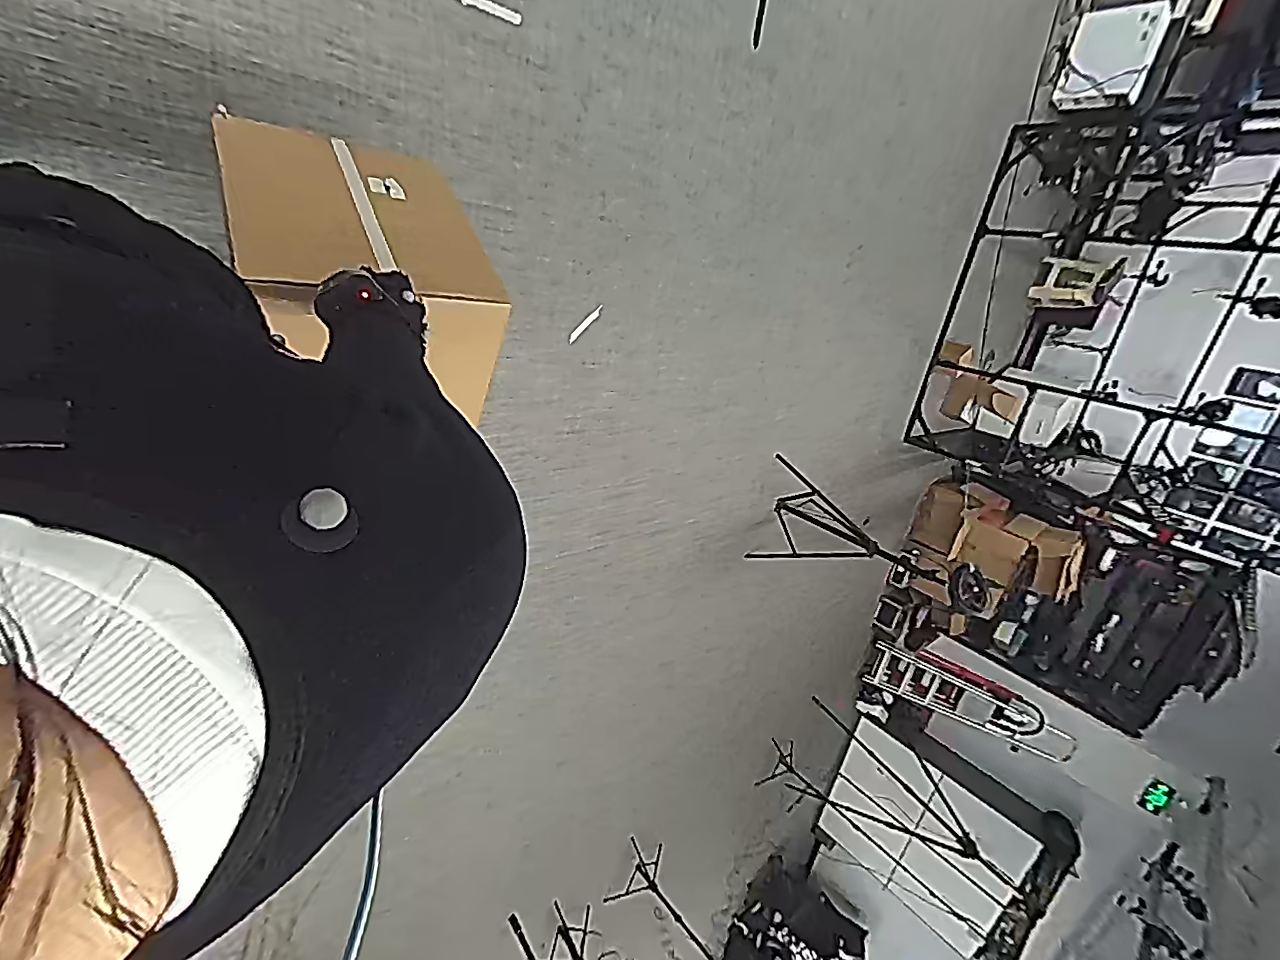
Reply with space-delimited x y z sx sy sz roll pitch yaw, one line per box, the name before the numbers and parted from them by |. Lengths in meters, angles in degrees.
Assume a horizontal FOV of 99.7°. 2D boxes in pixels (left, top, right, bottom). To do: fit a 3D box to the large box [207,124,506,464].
large box | -0.458 -0.283 0.866 0.320 0.408 0.320 -8 144 -37
